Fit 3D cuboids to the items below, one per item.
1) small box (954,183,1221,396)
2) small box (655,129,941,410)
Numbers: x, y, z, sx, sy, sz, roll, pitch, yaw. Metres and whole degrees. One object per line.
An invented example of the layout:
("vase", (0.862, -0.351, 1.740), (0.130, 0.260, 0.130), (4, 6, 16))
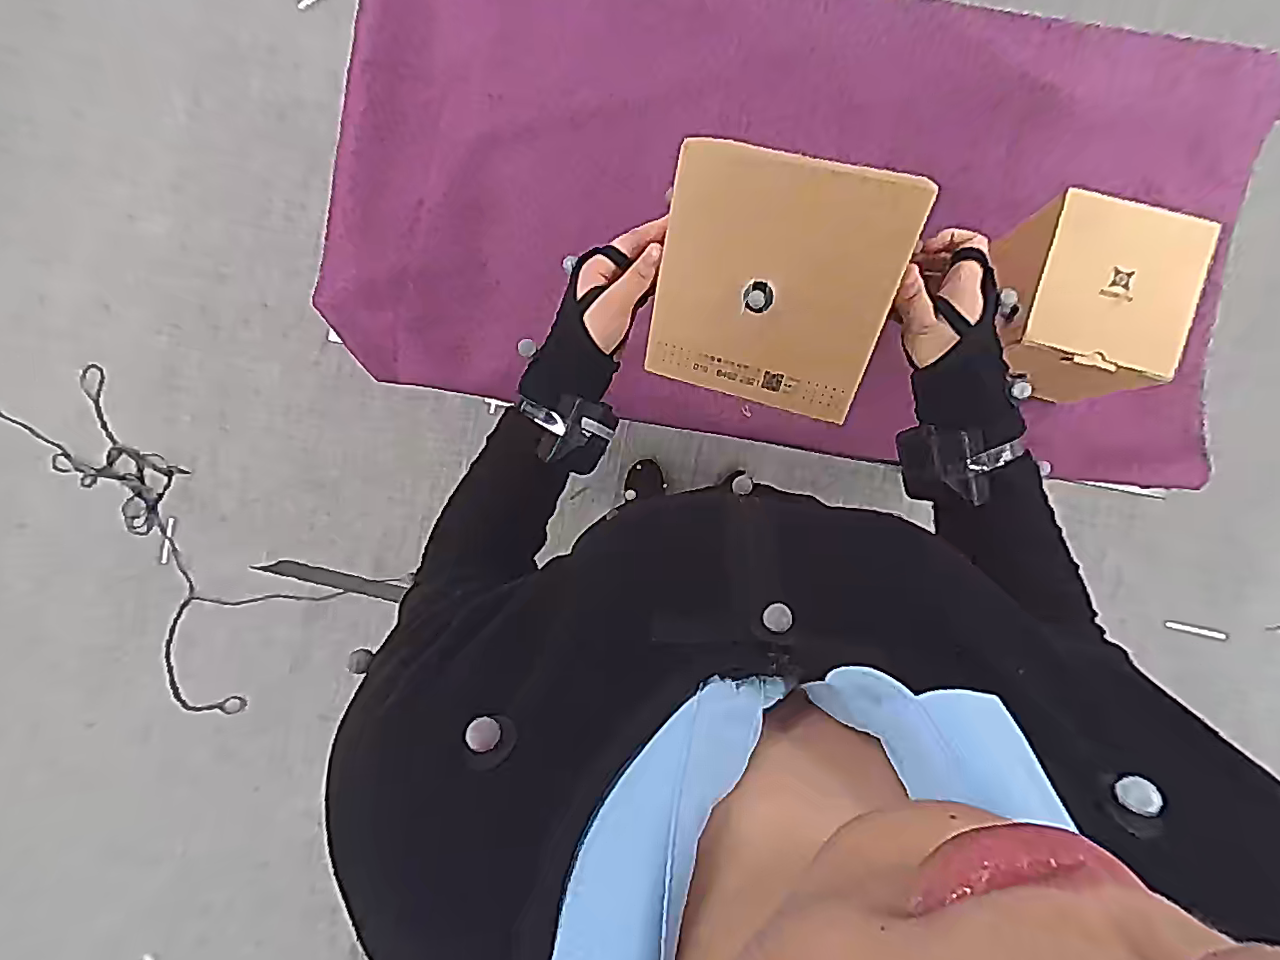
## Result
("small box", (0.520, -0.215, 0.658), (0.168, 0.176, 0.179), (16, 91, 3))
("small box", (0.119, -0.177, 0.452), (0.168, 0.179, 0.176), (19, 123, 9))
